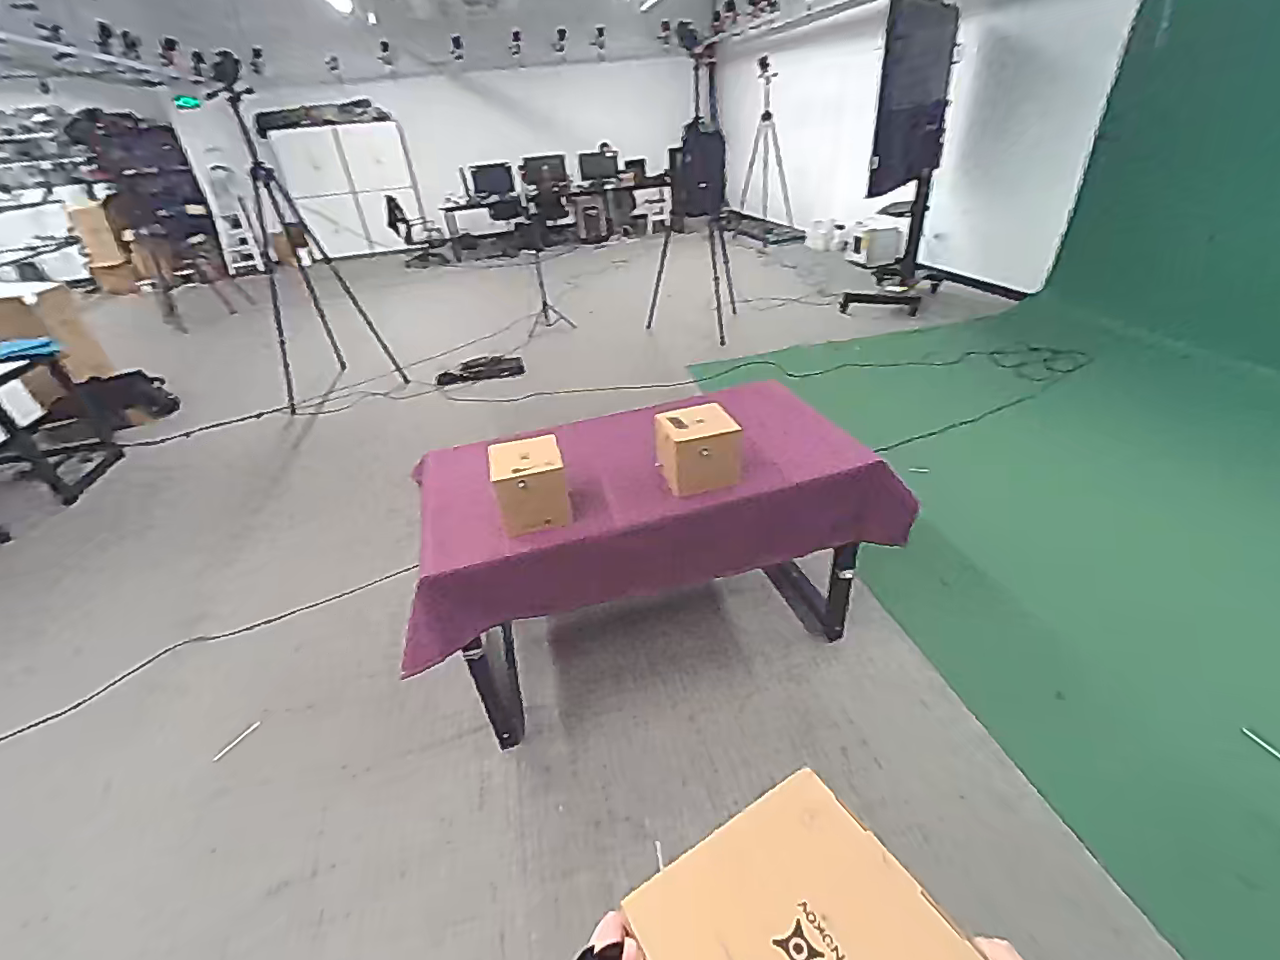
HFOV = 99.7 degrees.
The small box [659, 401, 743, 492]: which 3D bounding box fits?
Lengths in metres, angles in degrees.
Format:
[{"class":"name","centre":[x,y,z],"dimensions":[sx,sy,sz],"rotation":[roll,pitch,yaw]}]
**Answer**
[{"class":"small box","centre":[0.161,-0.085,1.420],"dimensions":[0.179,0.176,0.168],"rotation":[-12,34,-10]}]

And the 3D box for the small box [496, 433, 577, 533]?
[{"class":"small box","centre":[-0.259,0.006,1.349],"dimensions":[0.168,0.176,0.179],"rotation":[-12,33,-9]}]
